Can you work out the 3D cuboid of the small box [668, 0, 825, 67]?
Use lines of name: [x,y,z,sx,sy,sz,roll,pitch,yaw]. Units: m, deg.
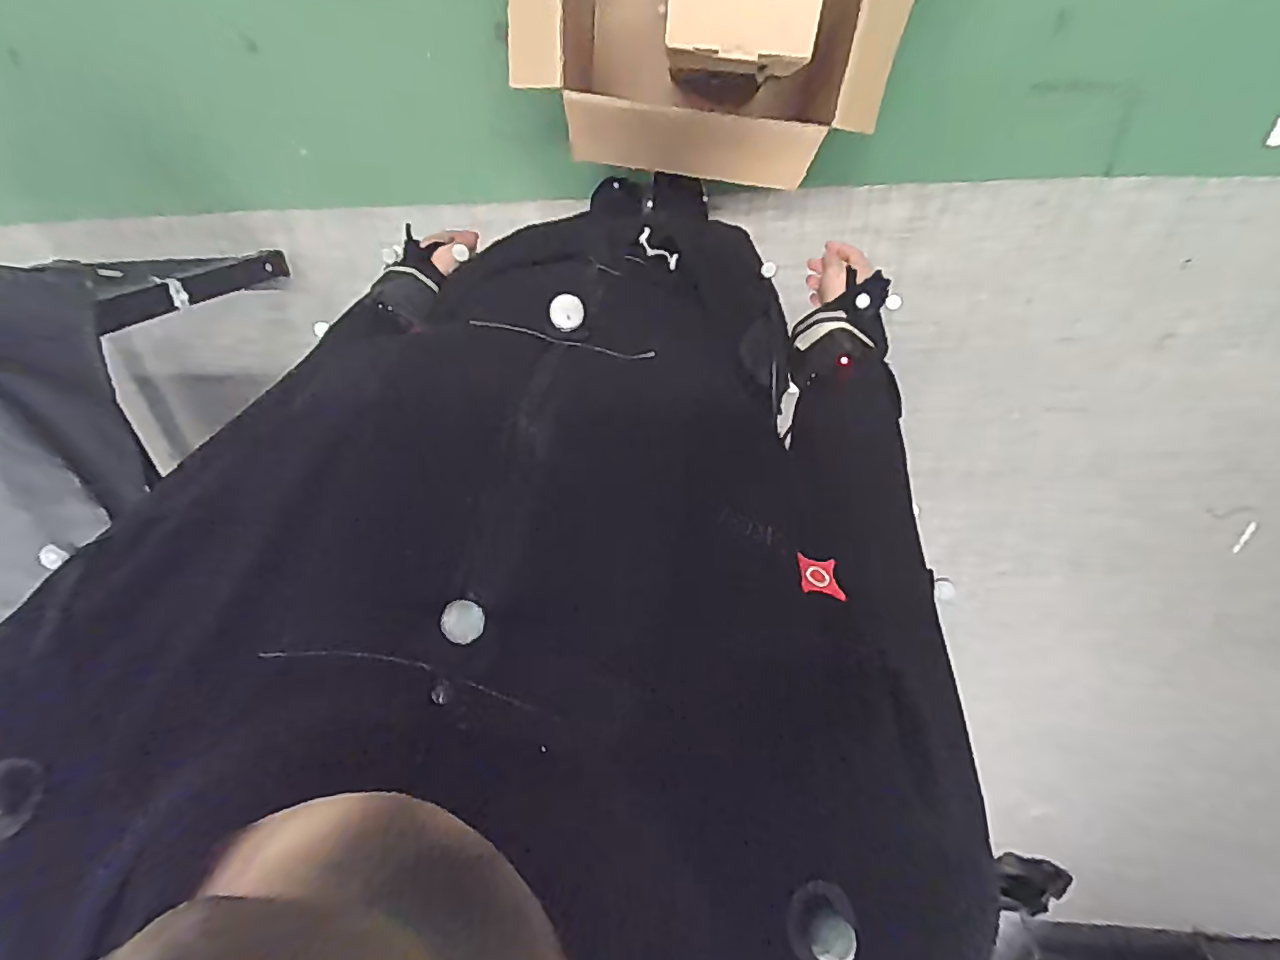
small box: [0.124,-0.589,0.614,0.168,0.176,0.179,5,122,1]
